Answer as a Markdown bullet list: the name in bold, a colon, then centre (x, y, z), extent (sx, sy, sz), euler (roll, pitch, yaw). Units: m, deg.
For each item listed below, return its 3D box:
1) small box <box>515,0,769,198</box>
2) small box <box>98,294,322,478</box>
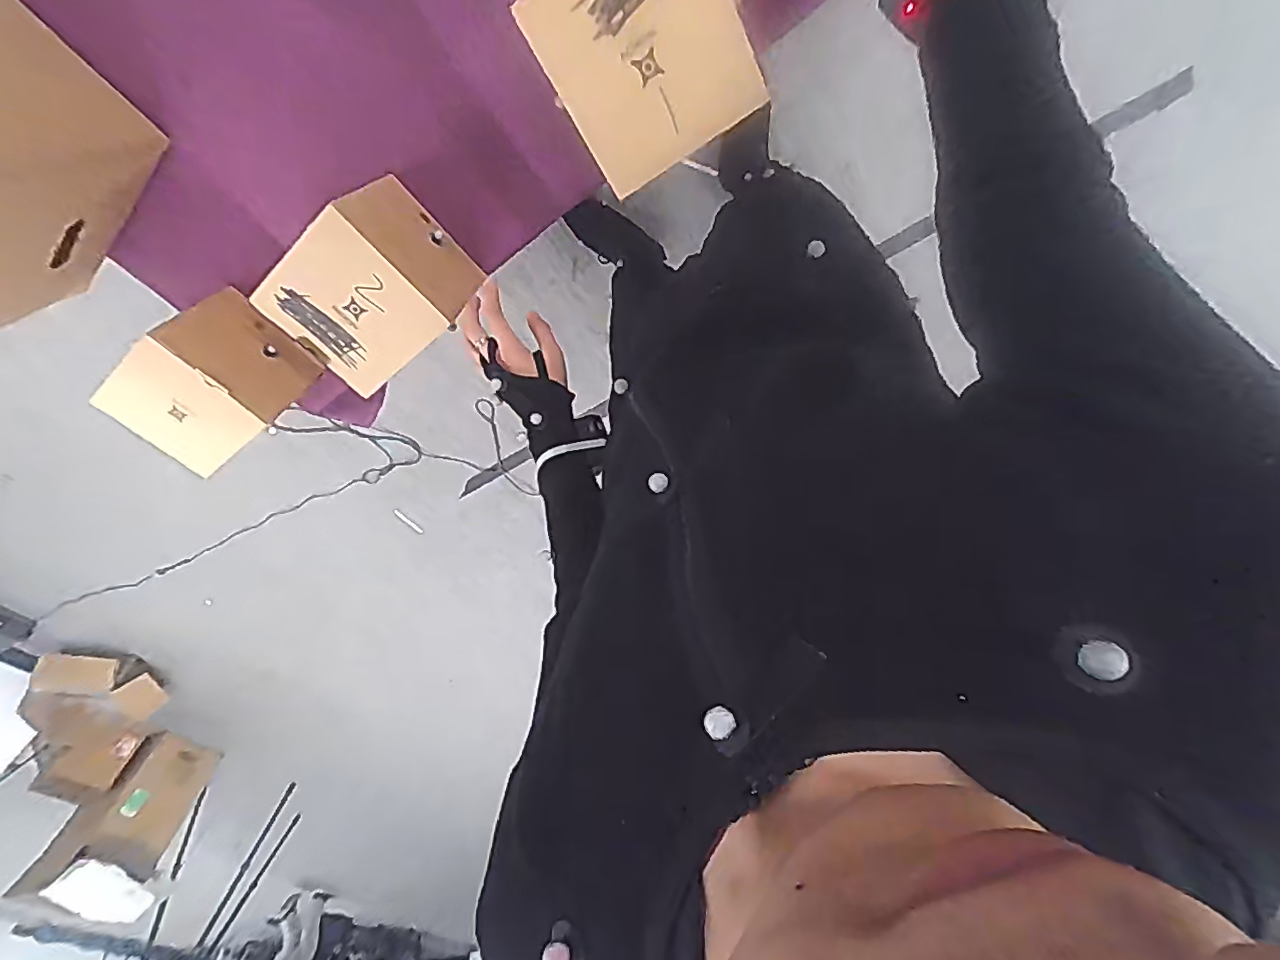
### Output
- **small box**: centre (0.008, -0.421, 0.534), extent (0.168, 0.176, 0.179), euler (-24, 125, 22)
- **small box**: centre (-0.618, -0.140, 0.802), extent (0.179, 0.176, 0.168), euler (-29, 122, 23)
